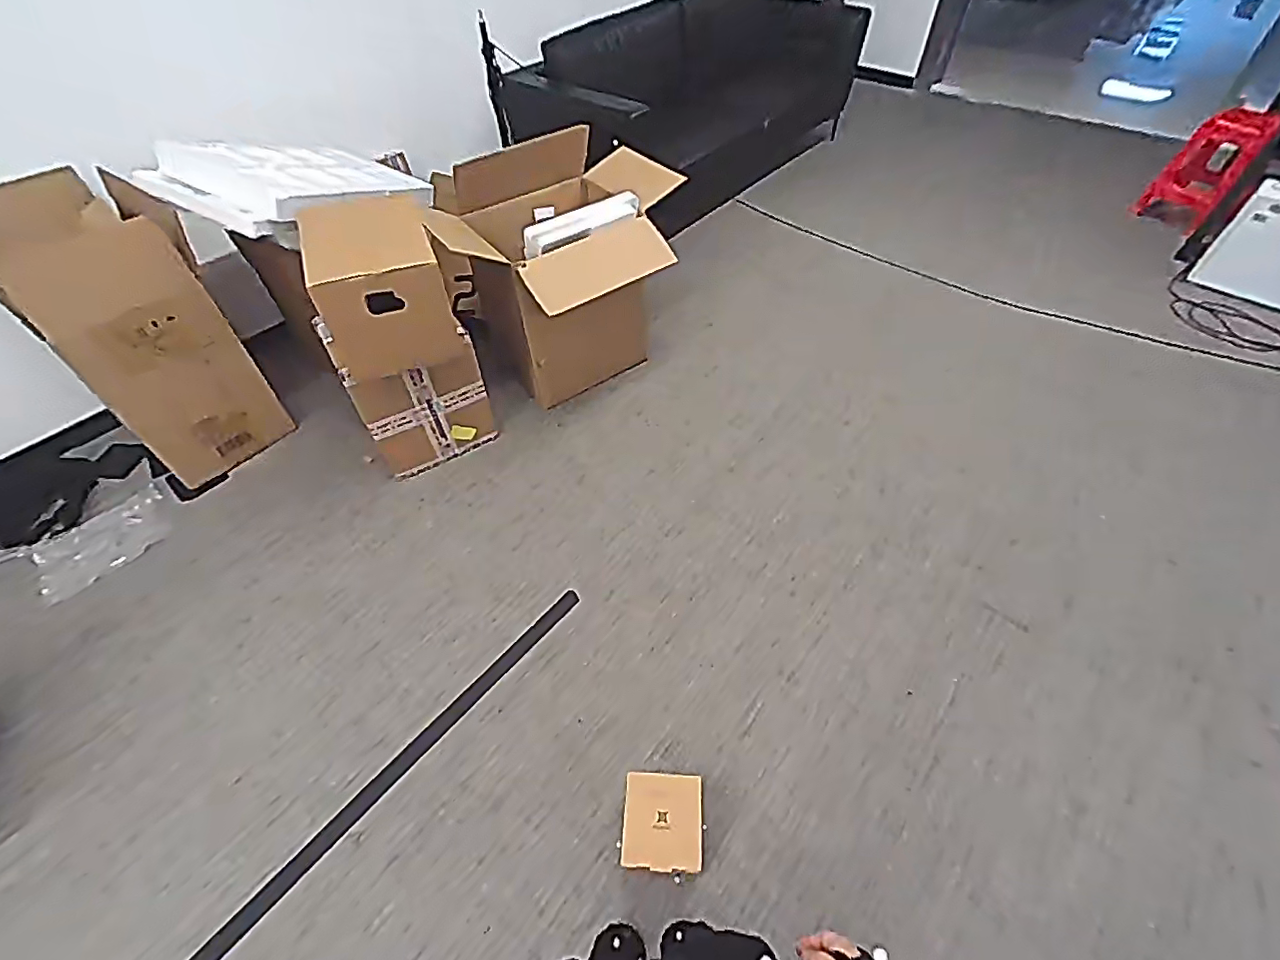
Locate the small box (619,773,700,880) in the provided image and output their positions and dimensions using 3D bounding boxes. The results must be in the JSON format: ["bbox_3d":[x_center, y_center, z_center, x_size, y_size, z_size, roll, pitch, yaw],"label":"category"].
[{"bbox_3d":[0.046,0.767,1.193,0.168,0.176,0.179,2,50,2],"label":"small box"}]
